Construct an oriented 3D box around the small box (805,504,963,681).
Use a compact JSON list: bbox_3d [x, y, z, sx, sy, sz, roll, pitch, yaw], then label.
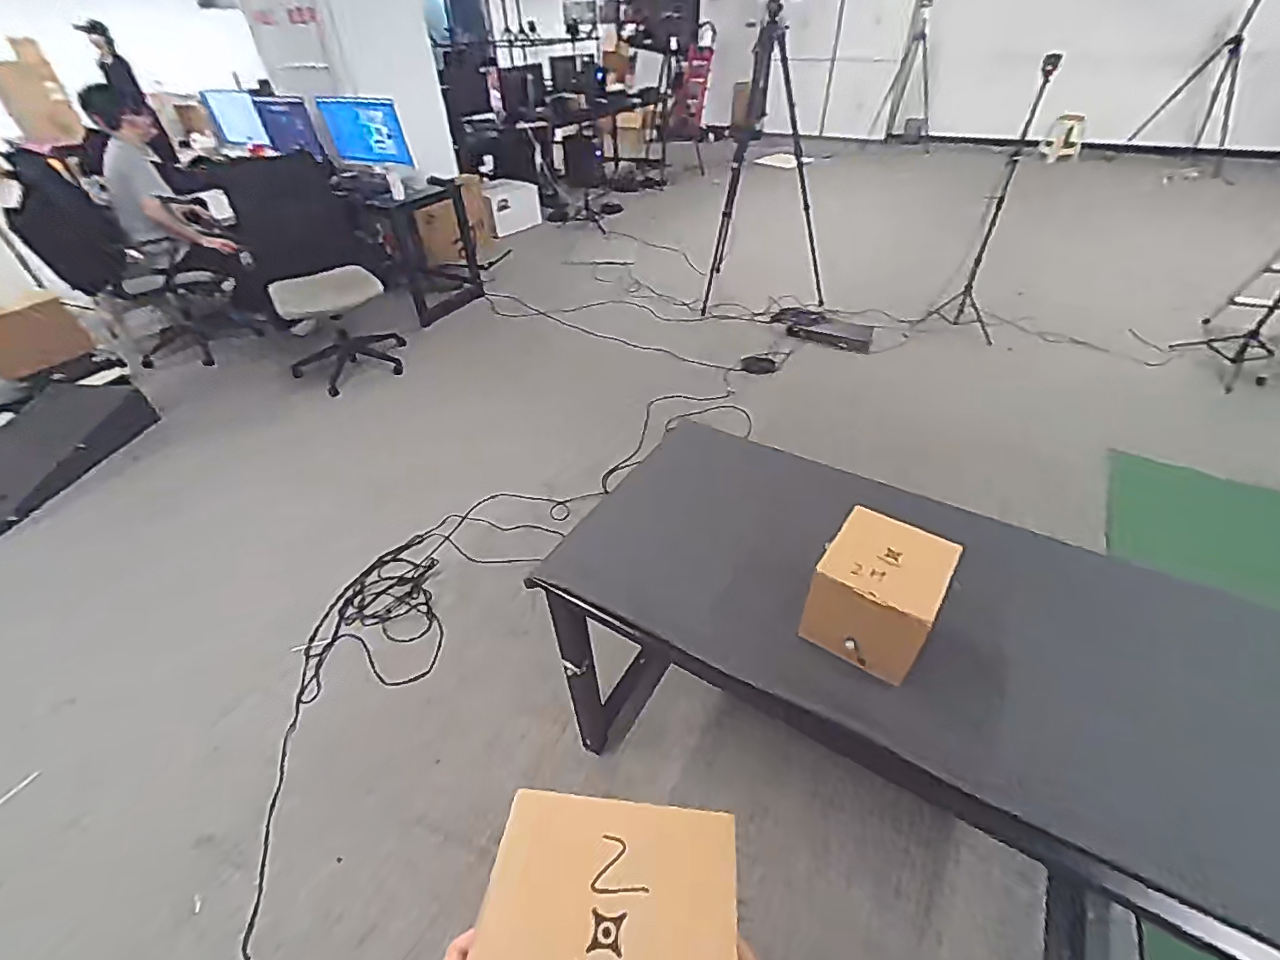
[{"bbox_3d":[0.378,0.176,0.857,0.168,0.176,0.179,24,47,29],"label":"small box"}]
